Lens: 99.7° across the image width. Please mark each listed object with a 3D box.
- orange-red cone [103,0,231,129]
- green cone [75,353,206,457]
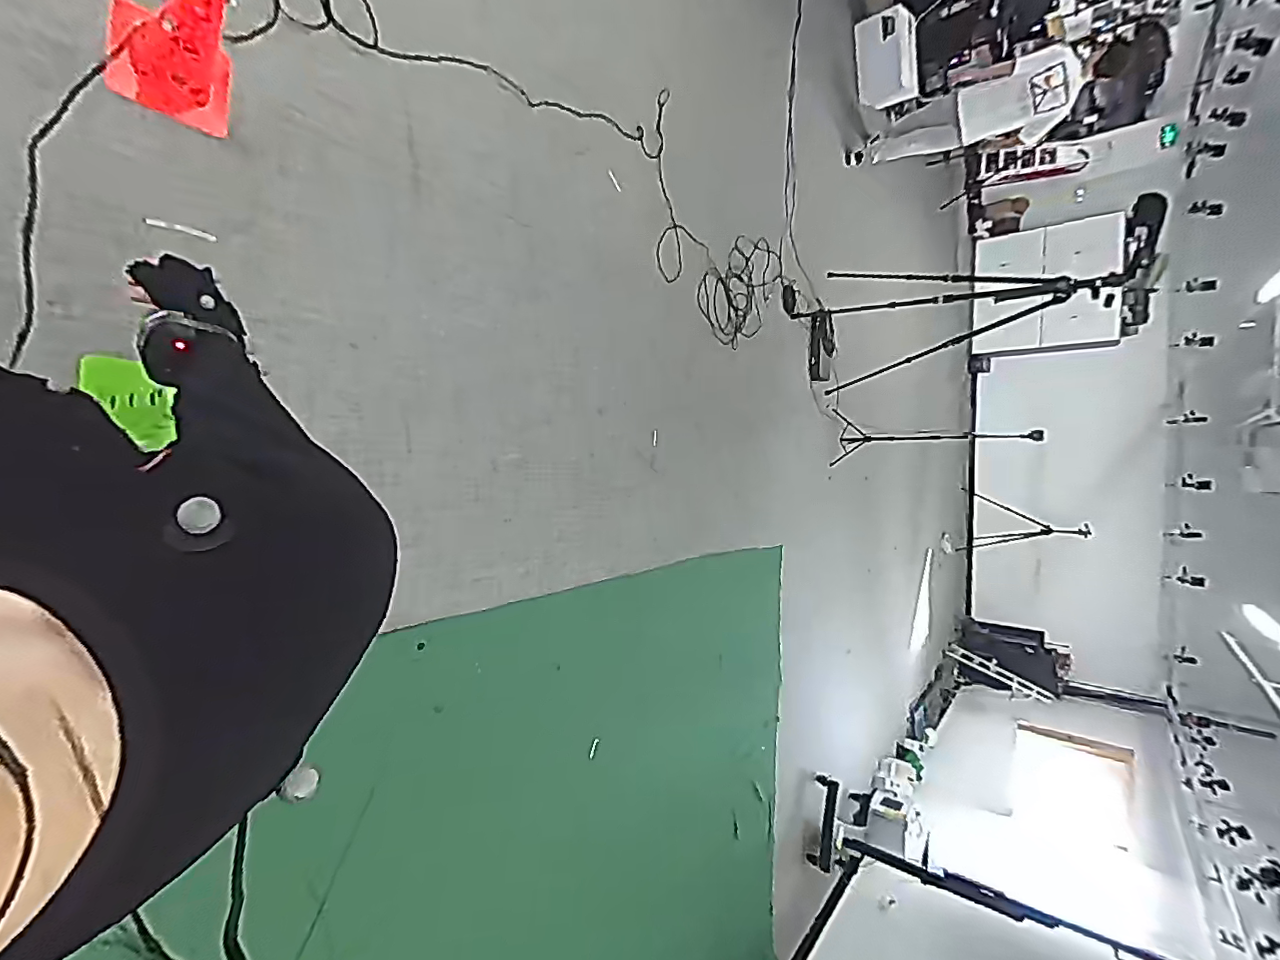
[{"bbox_3d":[-0.873,-0.880,1.044,0.198,0.360,0.199,6,88,-49],"label":"orange-red cone"},{"bbox_3d":[-0.909,-0.150,1.029,0.200,0.368,0.202,3,89,-51],"label":"green cone"}]
